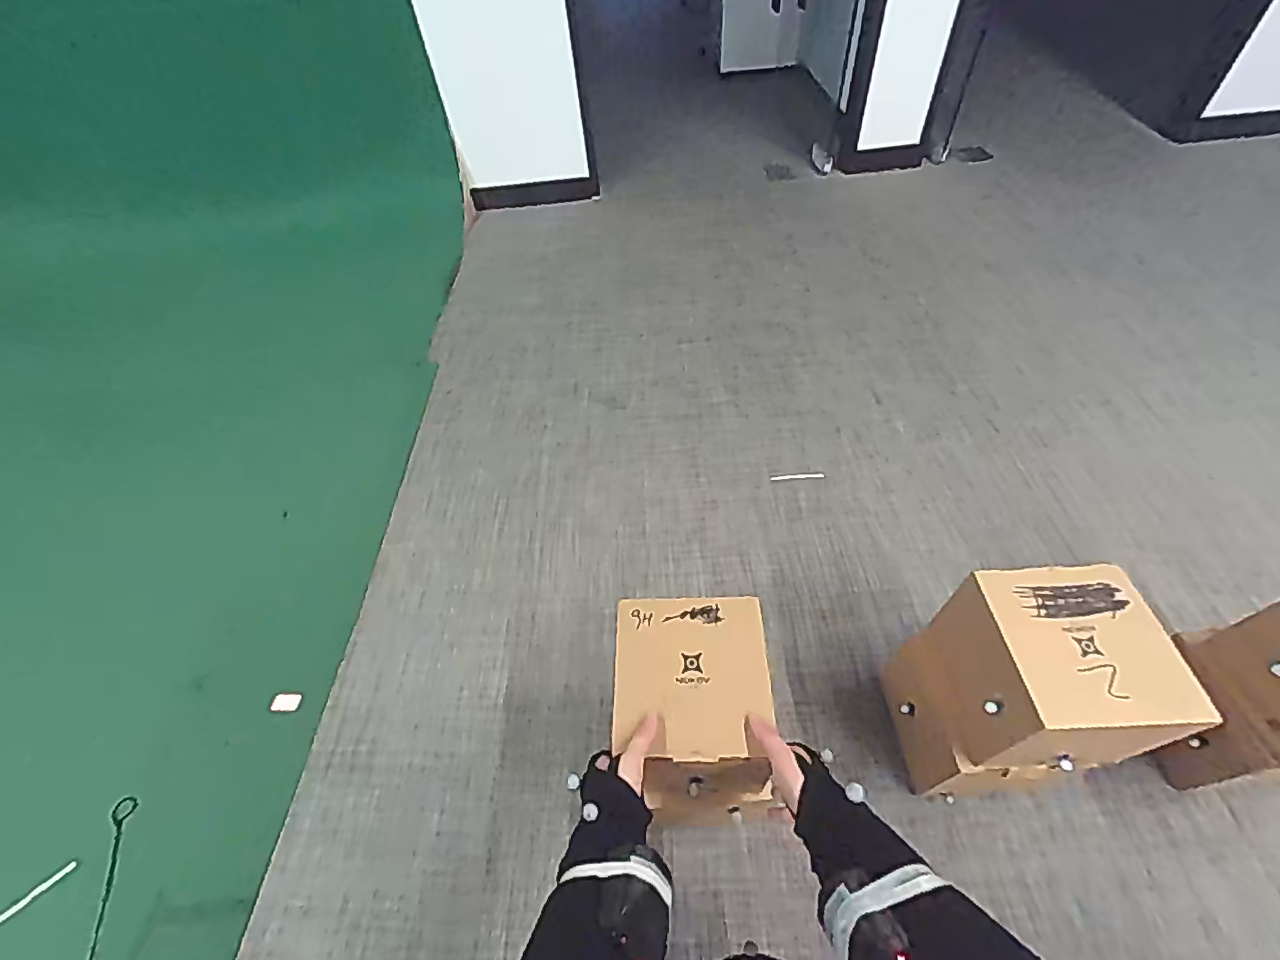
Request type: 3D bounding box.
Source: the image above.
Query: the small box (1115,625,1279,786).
[{"bbox_3d":[0.810,0.307,0.737,0.179,0.176,0.168,-6,52,1],"label":"small box"}]

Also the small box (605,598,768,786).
[{"bbox_3d":[0.055,0.258,0.648,0.168,0.176,0.179,-2,52,4],"label":"small box"}]

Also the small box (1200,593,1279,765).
[{"bbox_3d":[0.800,0.218,0.601,0.179,0.176,0.168,-10,51,-3],"label":"small box"}]

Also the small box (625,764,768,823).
[{"bbox_3d":[0.071,0.374,0.764,0.179,0.176,0.168,-5,50,2],"label":"small box"}]
